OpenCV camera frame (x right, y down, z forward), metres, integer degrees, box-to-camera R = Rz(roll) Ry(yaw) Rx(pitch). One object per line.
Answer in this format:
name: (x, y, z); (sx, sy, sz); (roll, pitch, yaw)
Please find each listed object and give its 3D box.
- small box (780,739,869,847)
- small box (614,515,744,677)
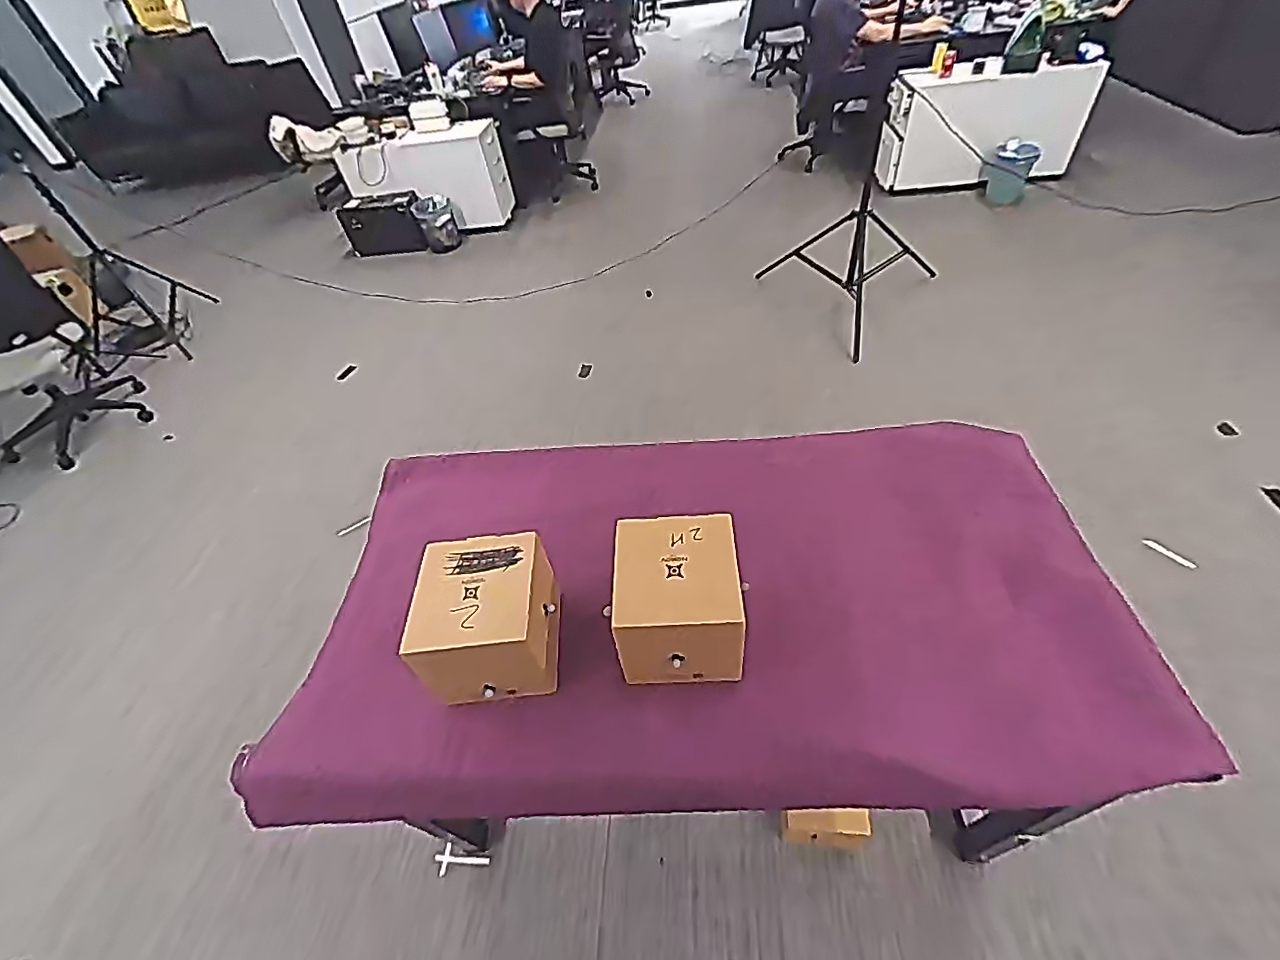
small box: (0.410, 0.713, 1.228); (0.168, 0.176, 0.179); (0, 47, 9)
small box: (0.058, 0.172, 0.779); (0.168, 0.176, 0.179); (-3, 45, 4)
